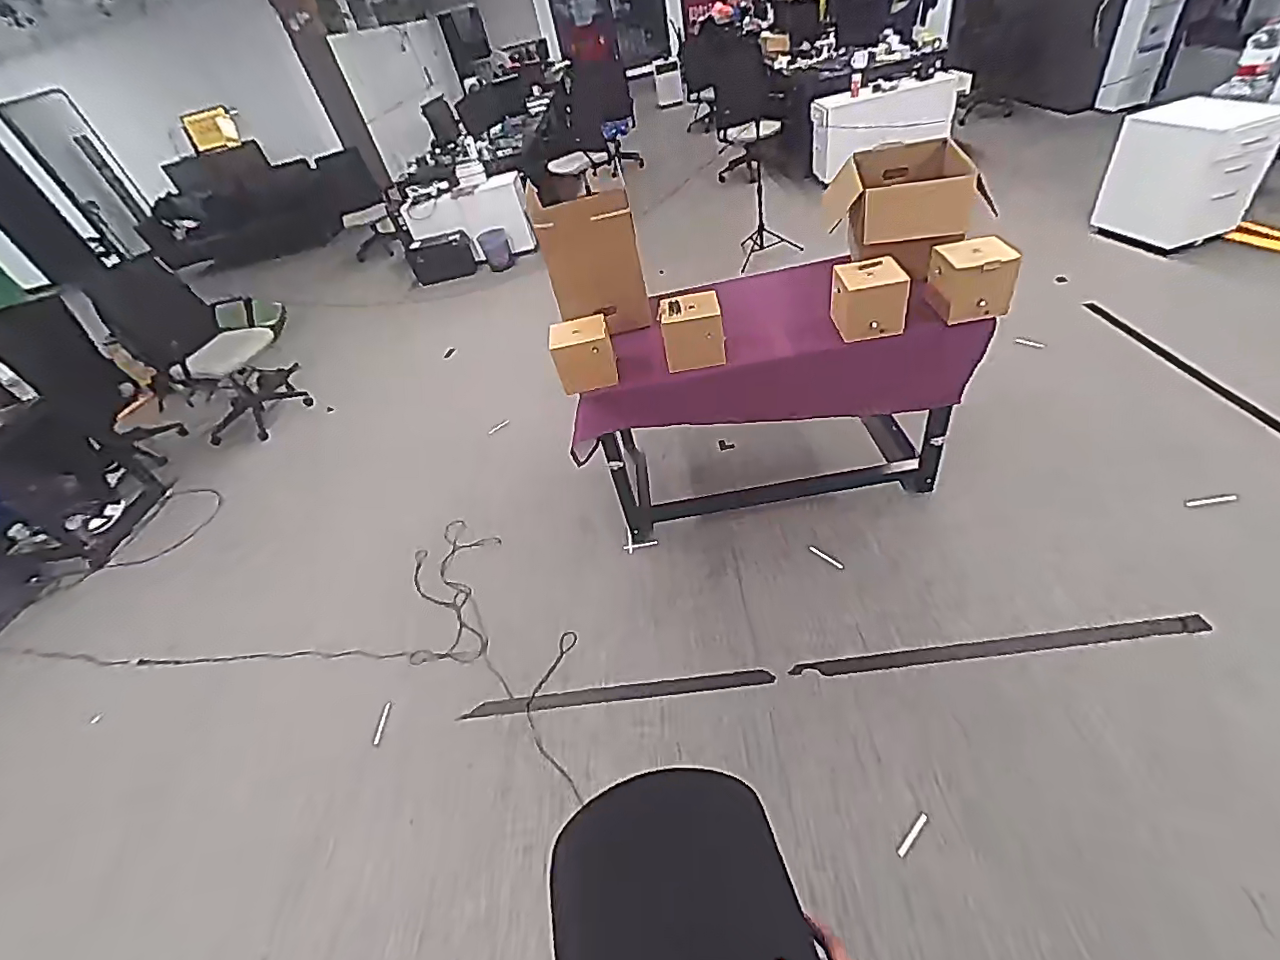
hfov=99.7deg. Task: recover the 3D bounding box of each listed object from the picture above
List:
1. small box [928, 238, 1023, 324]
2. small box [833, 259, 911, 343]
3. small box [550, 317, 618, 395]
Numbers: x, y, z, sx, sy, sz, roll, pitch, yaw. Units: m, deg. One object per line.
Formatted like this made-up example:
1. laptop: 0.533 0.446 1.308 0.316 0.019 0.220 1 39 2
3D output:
1. small box: 0.954 -0.570 1.558 0.168 0.176 0.179 -8 41 9
2. small box: 0.675 -0.527 1.597 0.168 0.176 0.179 -8 42 8
3. small box: -0.173 -0.385 1.694 0.179 0.176 0.168 -11 41 3
